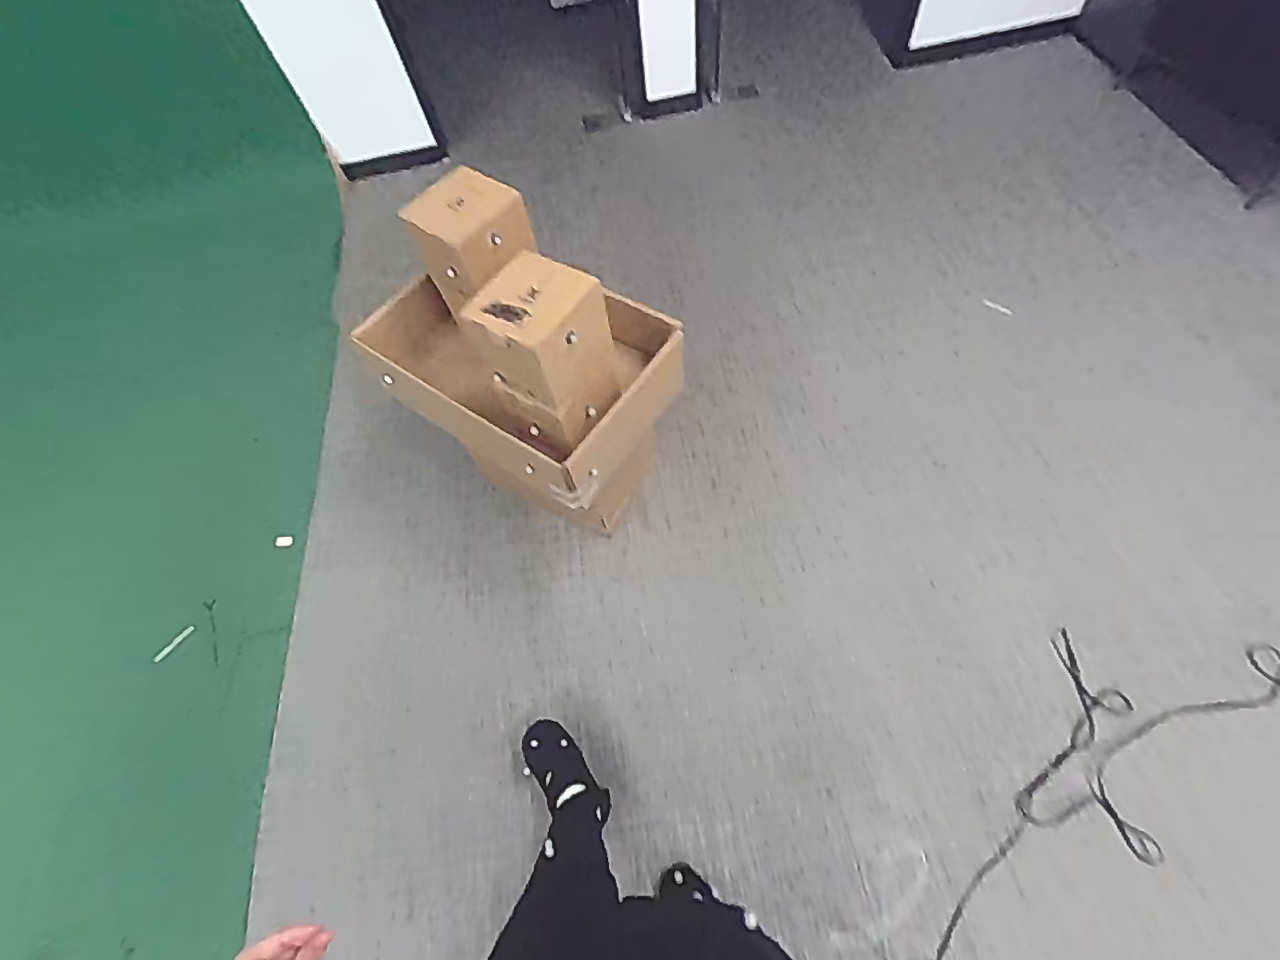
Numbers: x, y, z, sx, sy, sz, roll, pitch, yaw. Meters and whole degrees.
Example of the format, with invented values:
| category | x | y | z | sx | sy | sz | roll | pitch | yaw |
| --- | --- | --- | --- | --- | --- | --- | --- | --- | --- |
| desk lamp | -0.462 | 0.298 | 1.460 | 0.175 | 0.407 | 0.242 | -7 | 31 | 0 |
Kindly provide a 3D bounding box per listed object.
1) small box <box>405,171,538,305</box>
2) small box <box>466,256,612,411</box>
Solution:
| category | x | y | z | sx | sy | sz | roll | pitch | yaw |
| --- | --- | --- | --- | --- | --- | --- | --- | --- | --- |
| small box | -0.326 | -0.477 | 1.096 | 0.168 | 0.176 | 0.179 | 34 | 70 | 20 |
| small box | -0.165 | -0.253 | 0.953 | 0.168 | 0.176 | 0.179 | 28 | 67 | 20 |
